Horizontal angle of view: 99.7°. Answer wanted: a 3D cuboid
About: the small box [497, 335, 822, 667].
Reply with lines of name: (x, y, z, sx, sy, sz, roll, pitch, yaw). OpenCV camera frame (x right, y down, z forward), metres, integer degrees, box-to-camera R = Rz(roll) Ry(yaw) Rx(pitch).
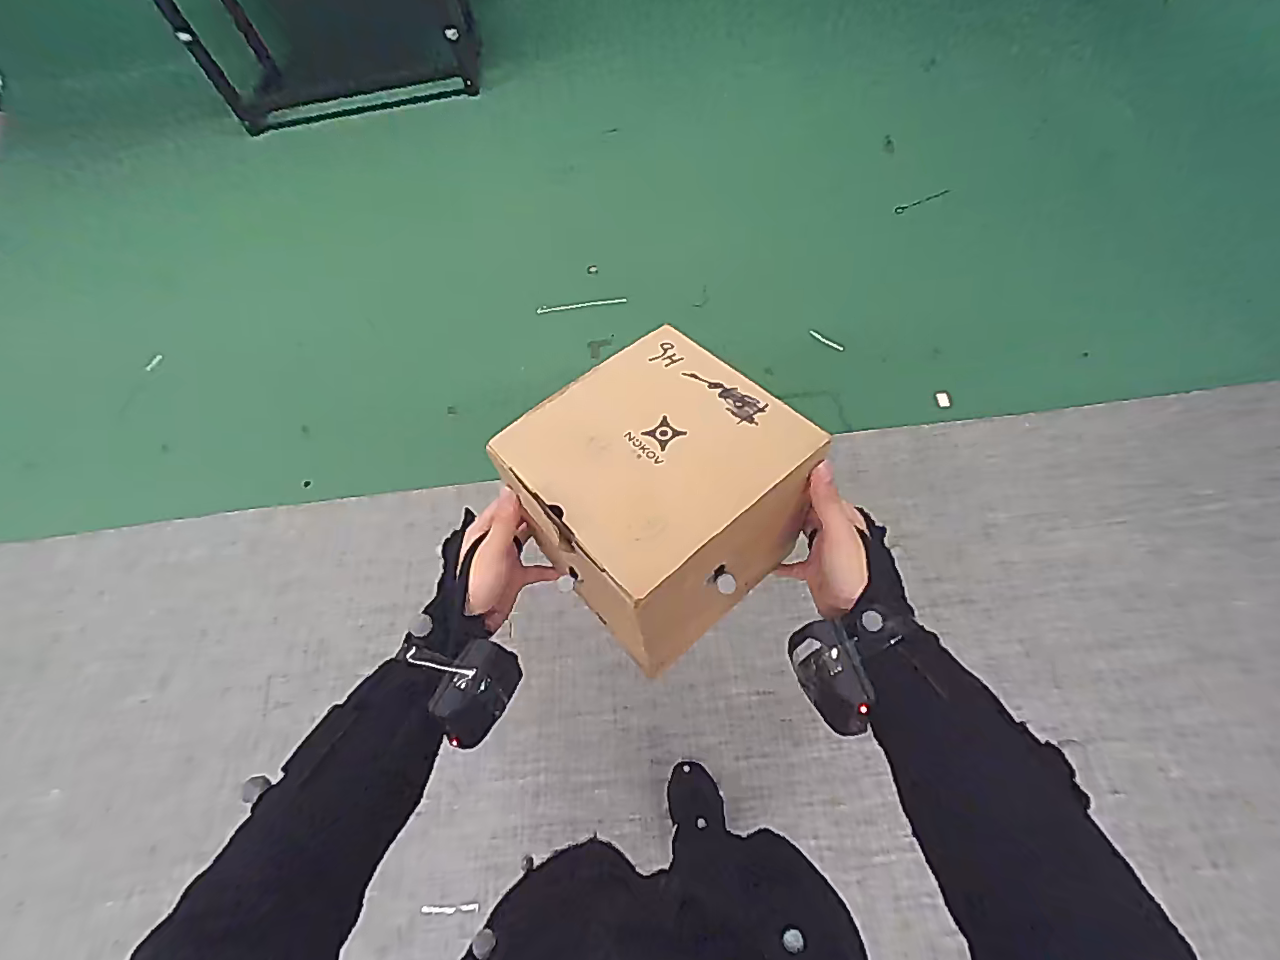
small box: (0.019, 0.023, 0.445, 0.179, 0.176, 0.168, -38, 60, -18)
